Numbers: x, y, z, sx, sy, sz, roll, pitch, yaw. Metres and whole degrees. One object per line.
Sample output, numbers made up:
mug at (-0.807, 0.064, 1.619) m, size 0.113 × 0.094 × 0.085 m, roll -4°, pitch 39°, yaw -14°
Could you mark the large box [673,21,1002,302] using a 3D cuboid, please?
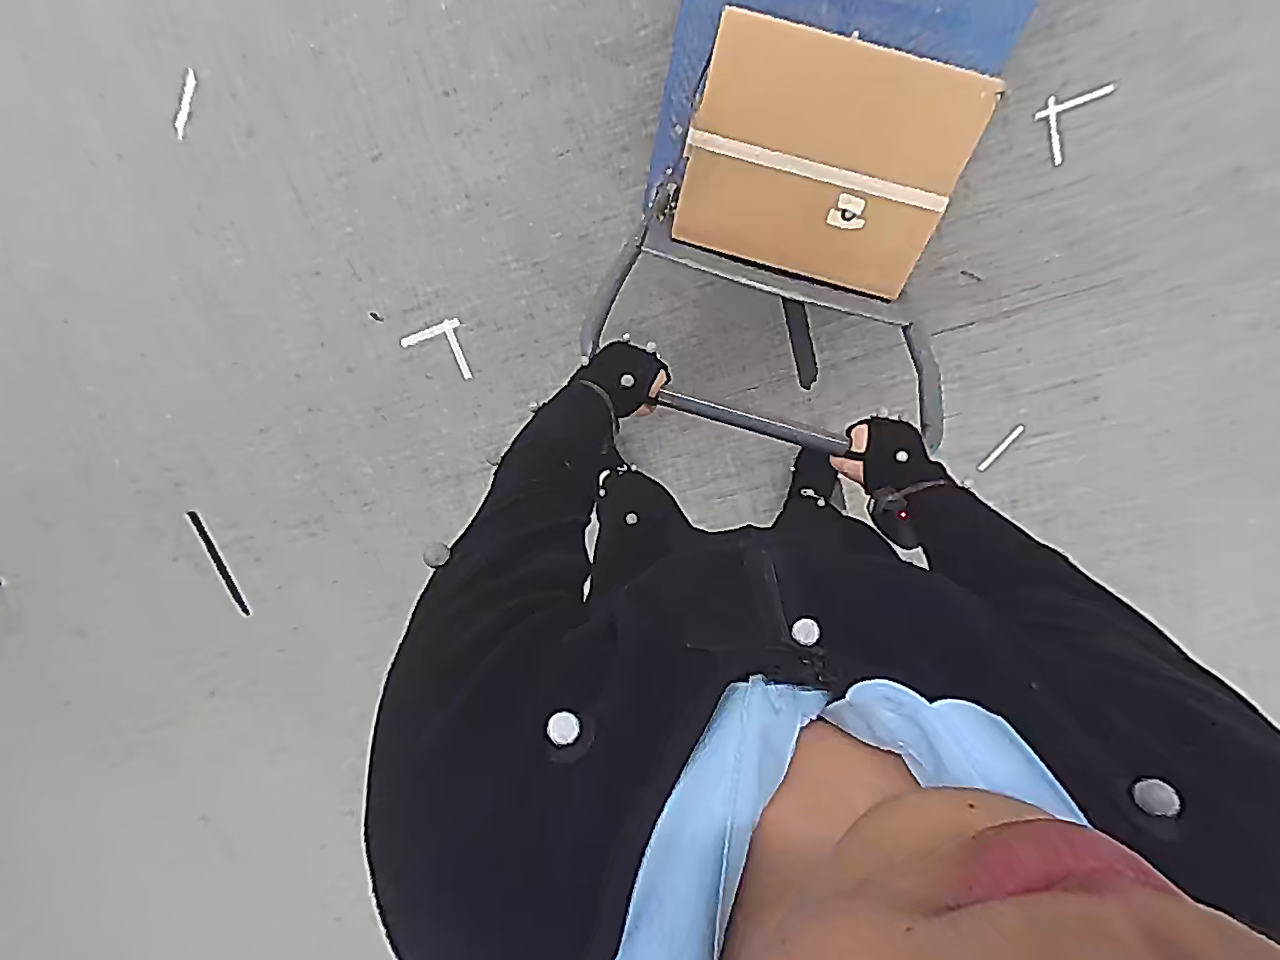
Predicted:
large box at (0.299, -0.557, 0.948) m, size 0.408 × 0.320 × 0.320 m, roll 16°, pitch 130°, yaw 1°
